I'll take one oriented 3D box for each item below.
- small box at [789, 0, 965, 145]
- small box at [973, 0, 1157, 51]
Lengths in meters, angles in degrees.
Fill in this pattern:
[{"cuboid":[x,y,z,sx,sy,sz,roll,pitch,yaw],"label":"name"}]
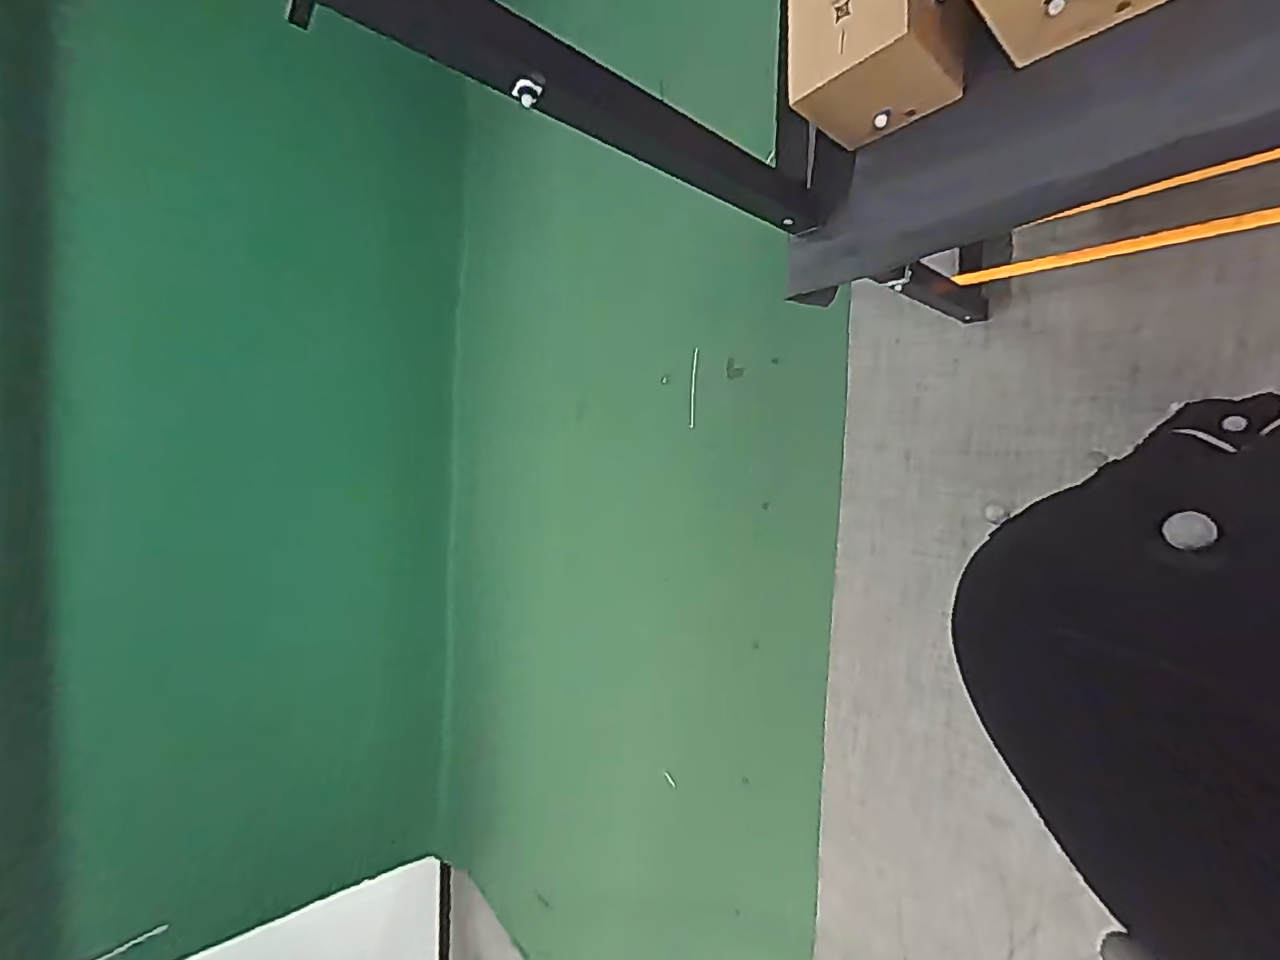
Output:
[{"cuboid":[0.322,-0.604,0.735,0.168,0.176,0.179,1,90,51],"label":"small box"},{"cuboid":[0.468,-0.599,0.562,0.168,0.176,0.179,5,93,50],"label":"small box"}]
